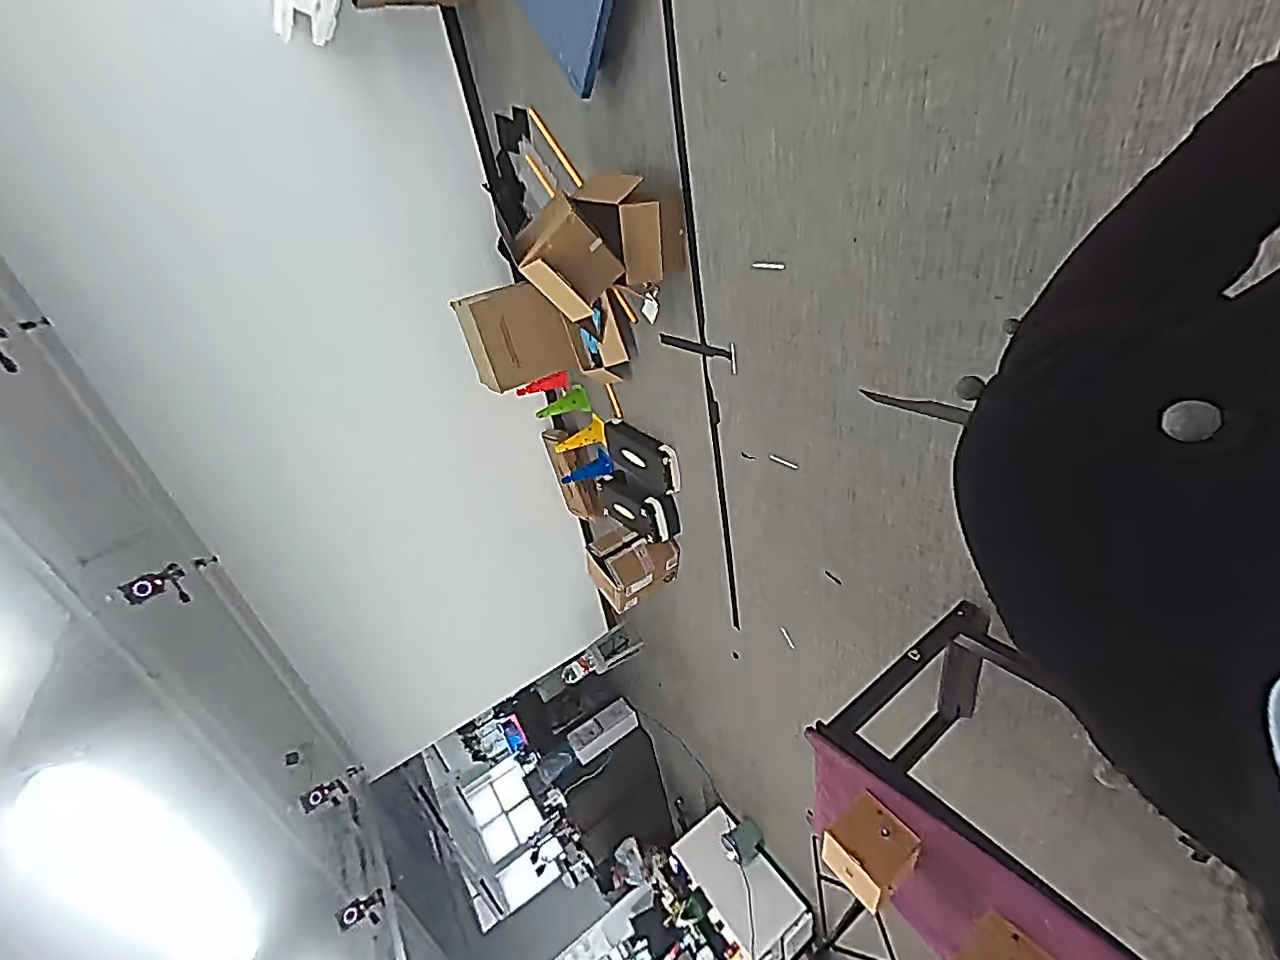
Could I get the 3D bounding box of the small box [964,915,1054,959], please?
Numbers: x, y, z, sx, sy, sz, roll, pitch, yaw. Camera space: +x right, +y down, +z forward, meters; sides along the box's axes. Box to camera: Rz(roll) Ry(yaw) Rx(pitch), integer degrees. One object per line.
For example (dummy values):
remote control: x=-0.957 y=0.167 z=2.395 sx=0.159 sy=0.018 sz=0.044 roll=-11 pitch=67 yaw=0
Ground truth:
small box: x=0.802 y=1.090 z=1.148 sx=0.168 sy=0.176 sz=0.179 roll=21 pitch=133 yaw=57

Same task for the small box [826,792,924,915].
small box: x=0.608 y=0.964 z=1.404 sx=0.168 sy=0.176 sz=0.179 roll=35 pitch=144 yaw=46
